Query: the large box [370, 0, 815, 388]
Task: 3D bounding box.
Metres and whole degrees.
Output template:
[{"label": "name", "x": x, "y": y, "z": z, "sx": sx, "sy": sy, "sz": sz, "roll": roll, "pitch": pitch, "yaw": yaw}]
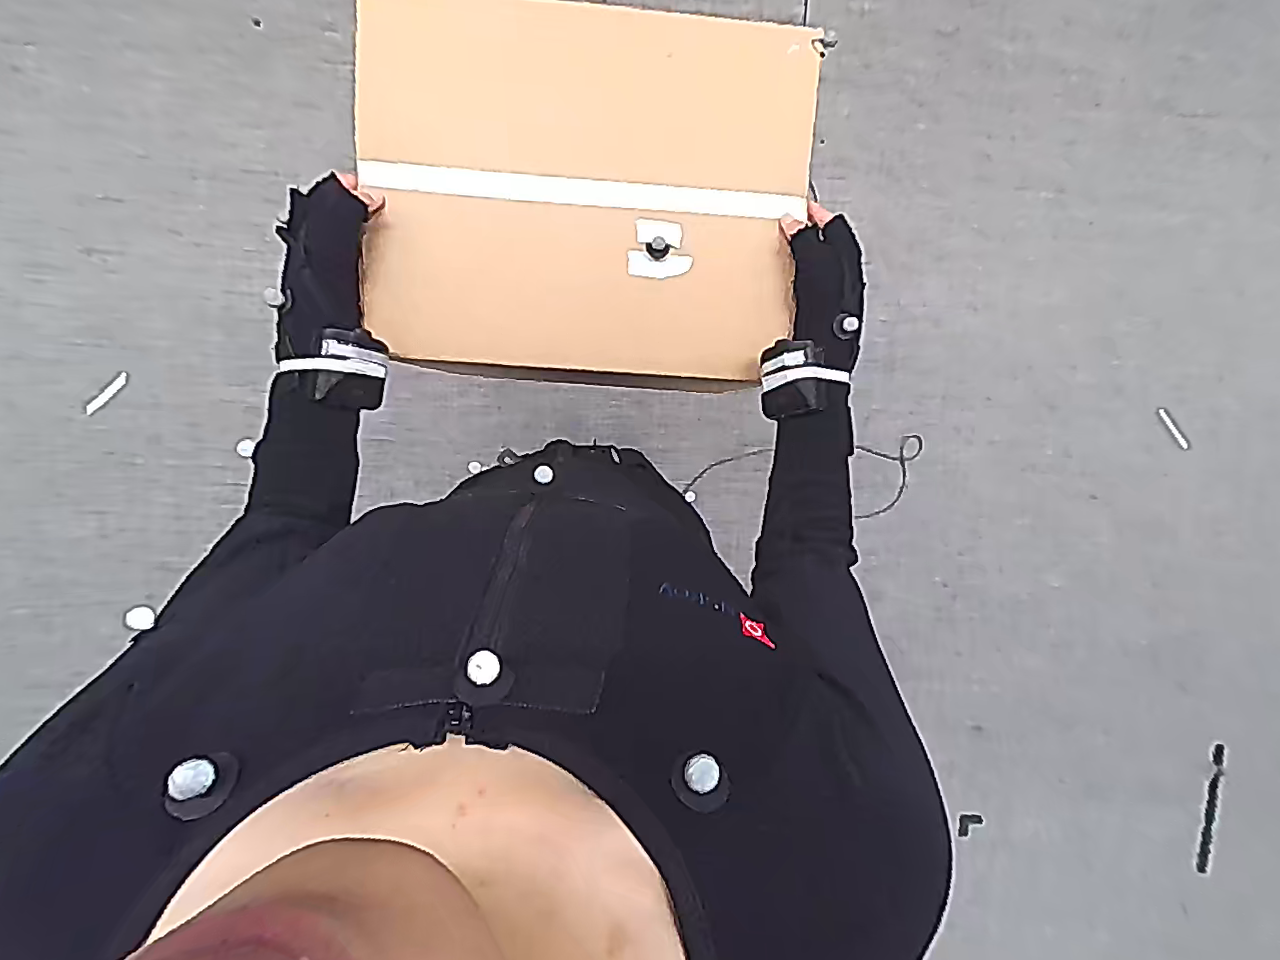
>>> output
[{"label": "large box", "x": -0.055, "y": -0.281, "z": 0.645, "sx": 0.408, "sy": 0.320, "sz": 0.320, "roll": 3, "pitch": 98, "yaw": -4}]
